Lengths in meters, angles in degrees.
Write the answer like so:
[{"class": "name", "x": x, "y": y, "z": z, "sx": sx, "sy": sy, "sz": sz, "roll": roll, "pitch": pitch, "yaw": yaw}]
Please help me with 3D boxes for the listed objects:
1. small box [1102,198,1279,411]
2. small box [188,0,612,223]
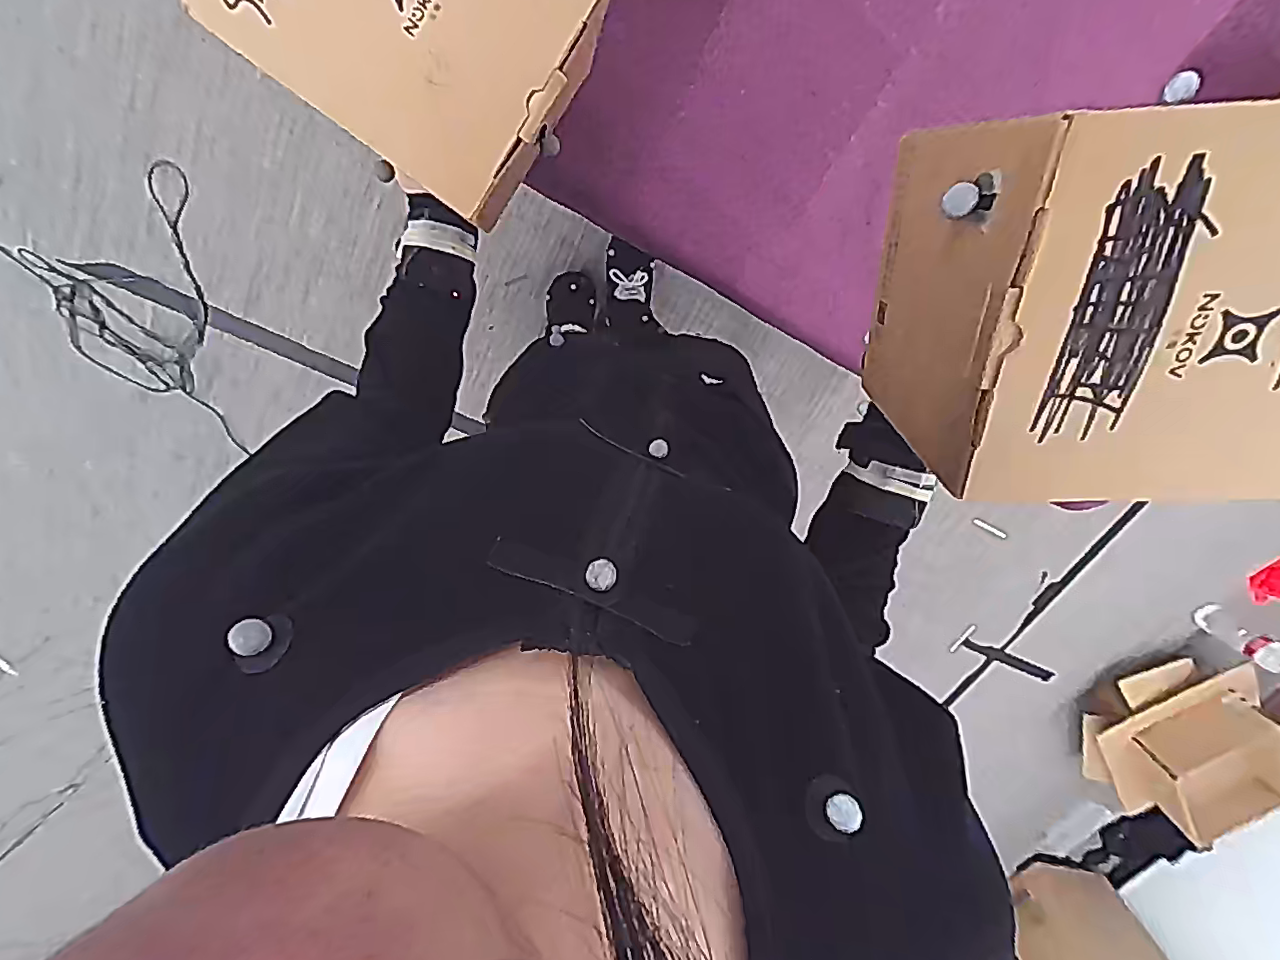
[{"class": "small box", "x": 0.730, "y": -0.219, "z": 0.666, "sx": 0.168, "sy": 0.176, "sz": 0.179, "roll": 28, "pitch": 109, "yaw": -19}, {"class": "small box", "x": -0.142, "y": -0.305, "z": 0.375, "sx": 0.179, "sy": 0.176, "sz": 0.168, "roll": 32, "pitch": 103, "yaw": -22}]
